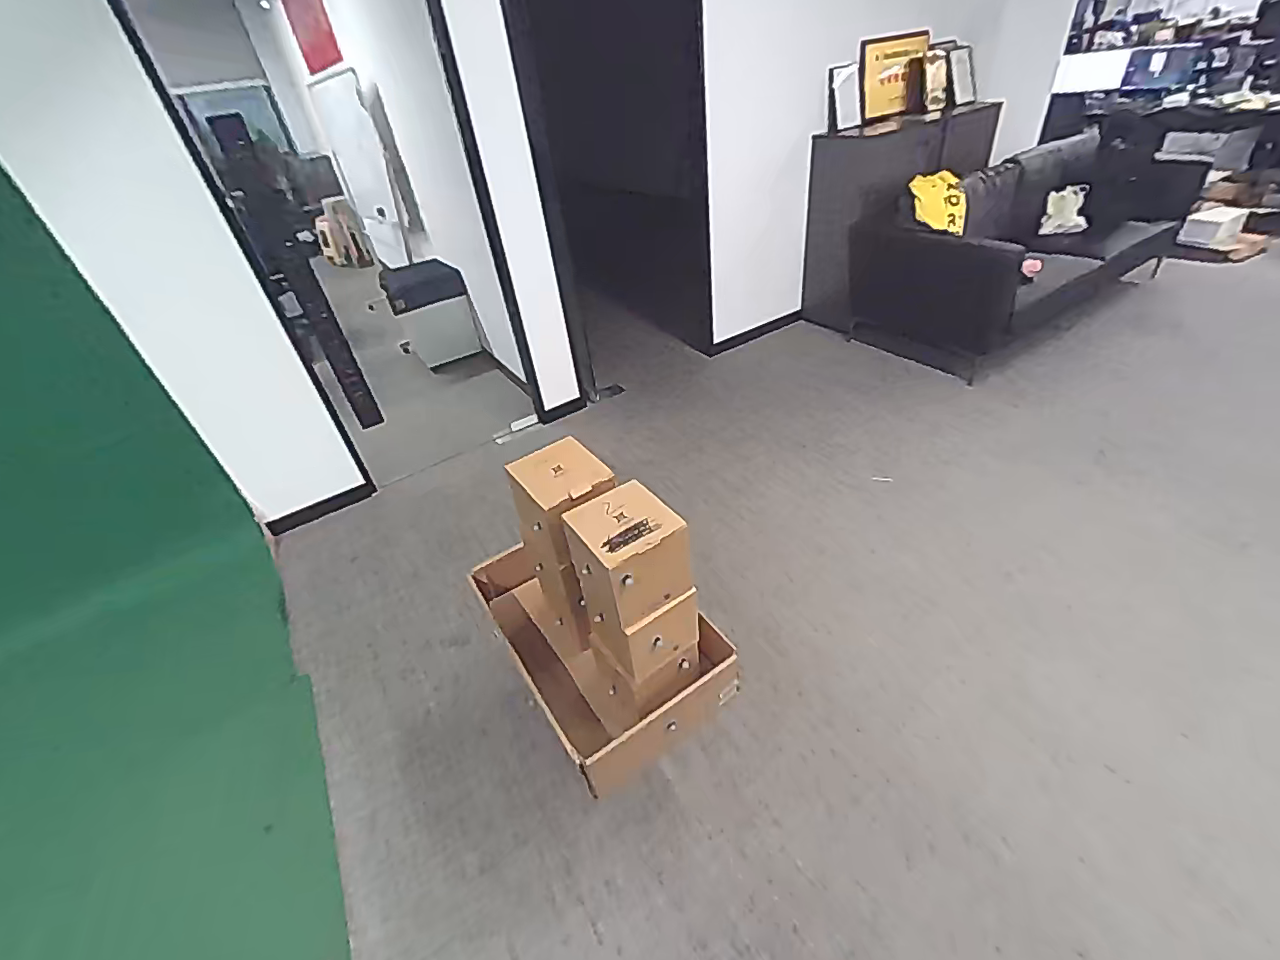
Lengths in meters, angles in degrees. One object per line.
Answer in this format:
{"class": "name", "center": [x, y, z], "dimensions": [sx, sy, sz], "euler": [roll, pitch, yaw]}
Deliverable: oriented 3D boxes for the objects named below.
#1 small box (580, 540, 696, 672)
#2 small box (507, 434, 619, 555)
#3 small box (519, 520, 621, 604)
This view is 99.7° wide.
{"class": "small box", "center": [0.001, 0.264, 1.106], "dimensions": [0.168, 0.176, 0.179], "euler": [-28, 42, -24]}
{"class": "small box", "center": [-0.158, 0.036, 1.153], "dimensions": [0.168, 0.176, 0.179], "euler": [-28, 46, -25]}
{"class": "small box", "center": [-0.153, 0.163, 1.256], "dimensions": [0.168, 0.176, 0.179], "euler": [-30, 46, -26]}
